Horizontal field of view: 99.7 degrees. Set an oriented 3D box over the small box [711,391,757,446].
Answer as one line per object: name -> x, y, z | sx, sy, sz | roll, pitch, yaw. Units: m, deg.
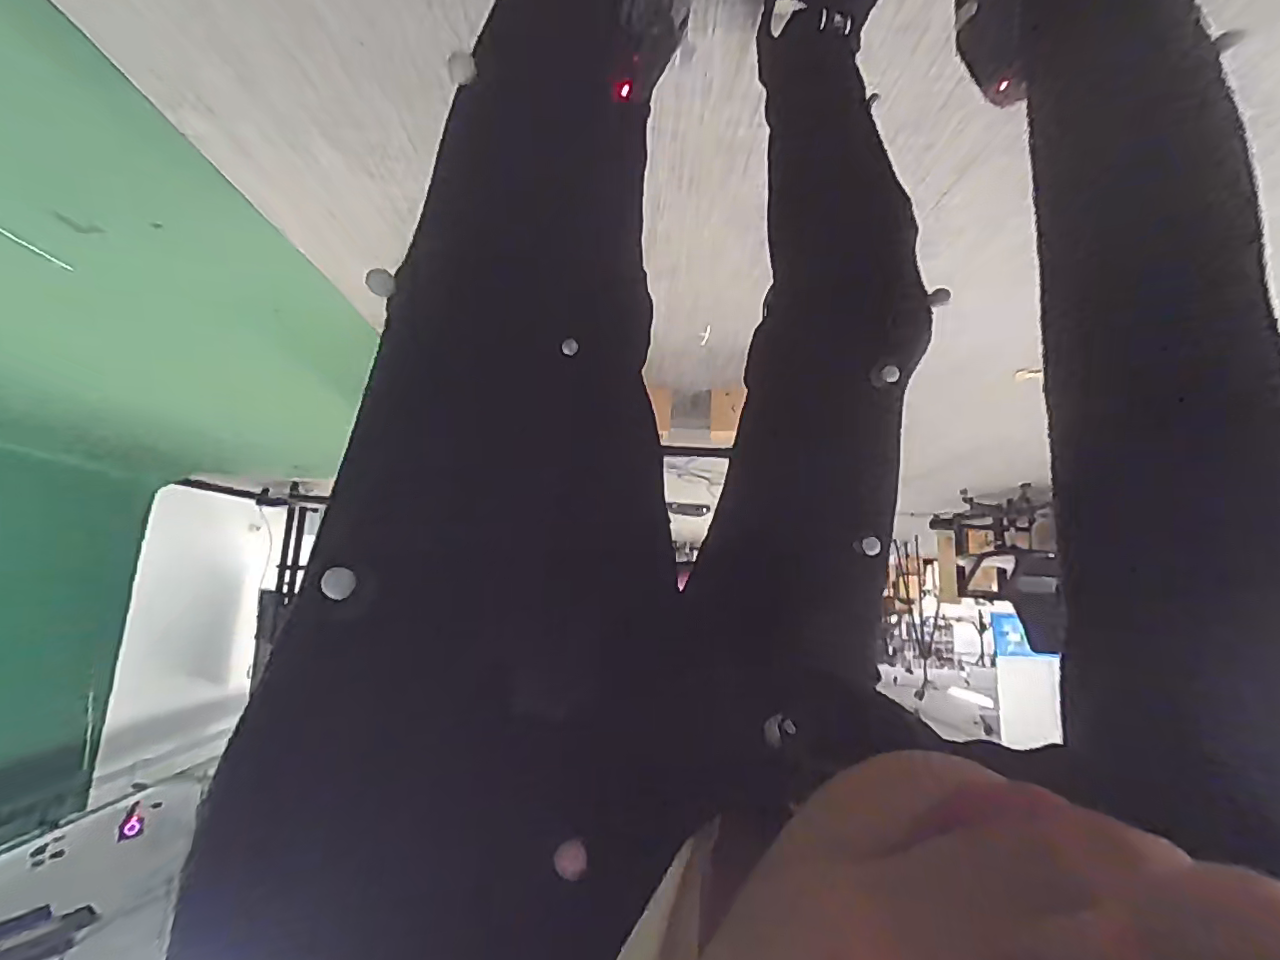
small box -> 0.355, -0.234, 2.057 | 0.168, 0.176, 0.179 | 1, 169, 7
